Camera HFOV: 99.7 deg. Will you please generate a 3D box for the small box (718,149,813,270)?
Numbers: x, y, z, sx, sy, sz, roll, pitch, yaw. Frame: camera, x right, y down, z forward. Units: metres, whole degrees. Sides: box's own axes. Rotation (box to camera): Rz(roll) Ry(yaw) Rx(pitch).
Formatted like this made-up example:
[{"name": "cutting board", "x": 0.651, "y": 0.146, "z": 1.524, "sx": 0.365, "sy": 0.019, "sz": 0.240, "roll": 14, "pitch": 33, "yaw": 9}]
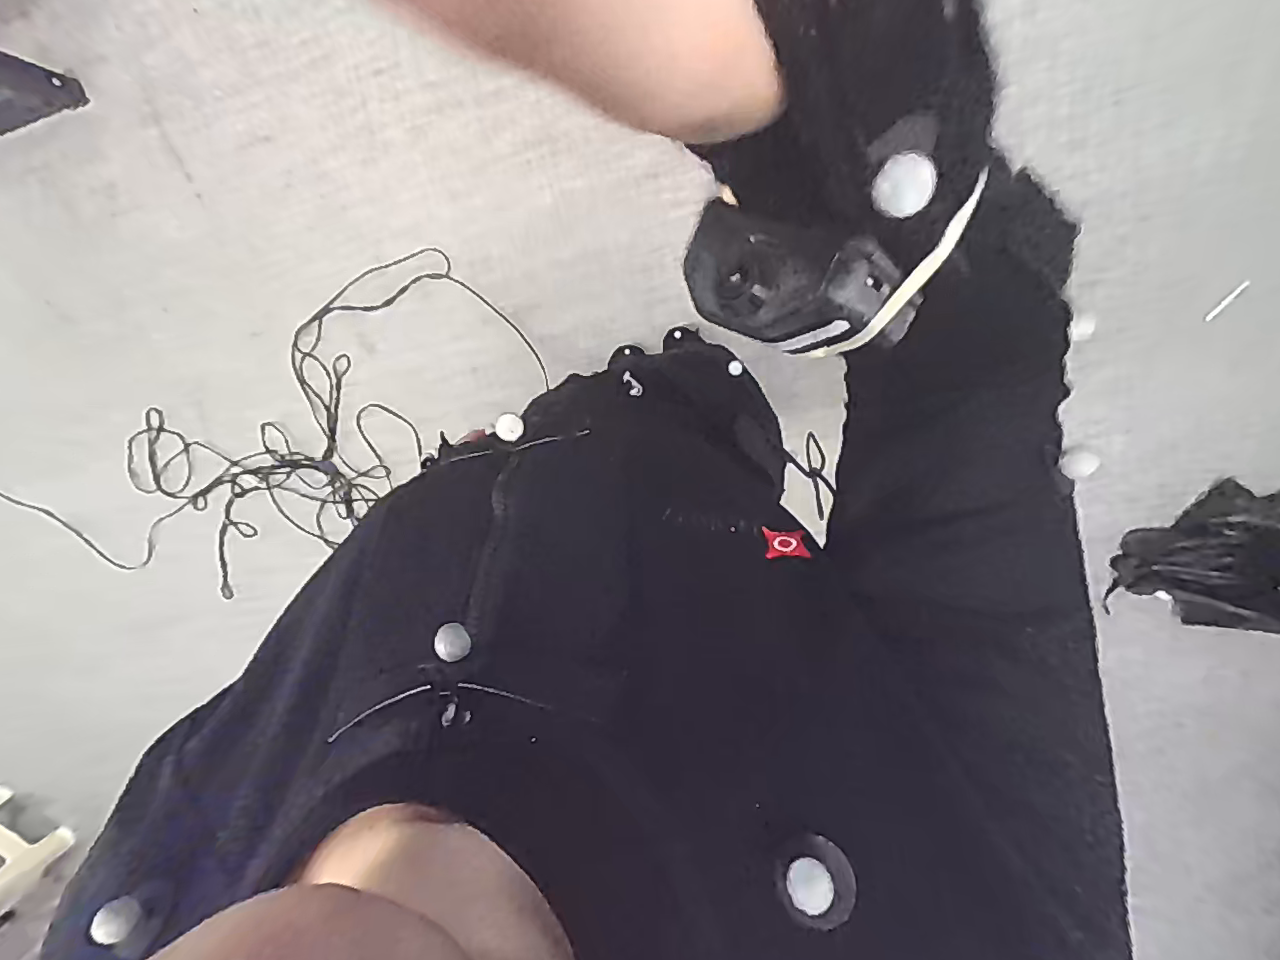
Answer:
[{"name": "small box", "x": 0.254, "y": -0.548, "z": 1.121, "sx": 0.168, "sy": 0.176, "sz": 0.179, "roll": -8, "pitch": 104, "yaw": 9}]
